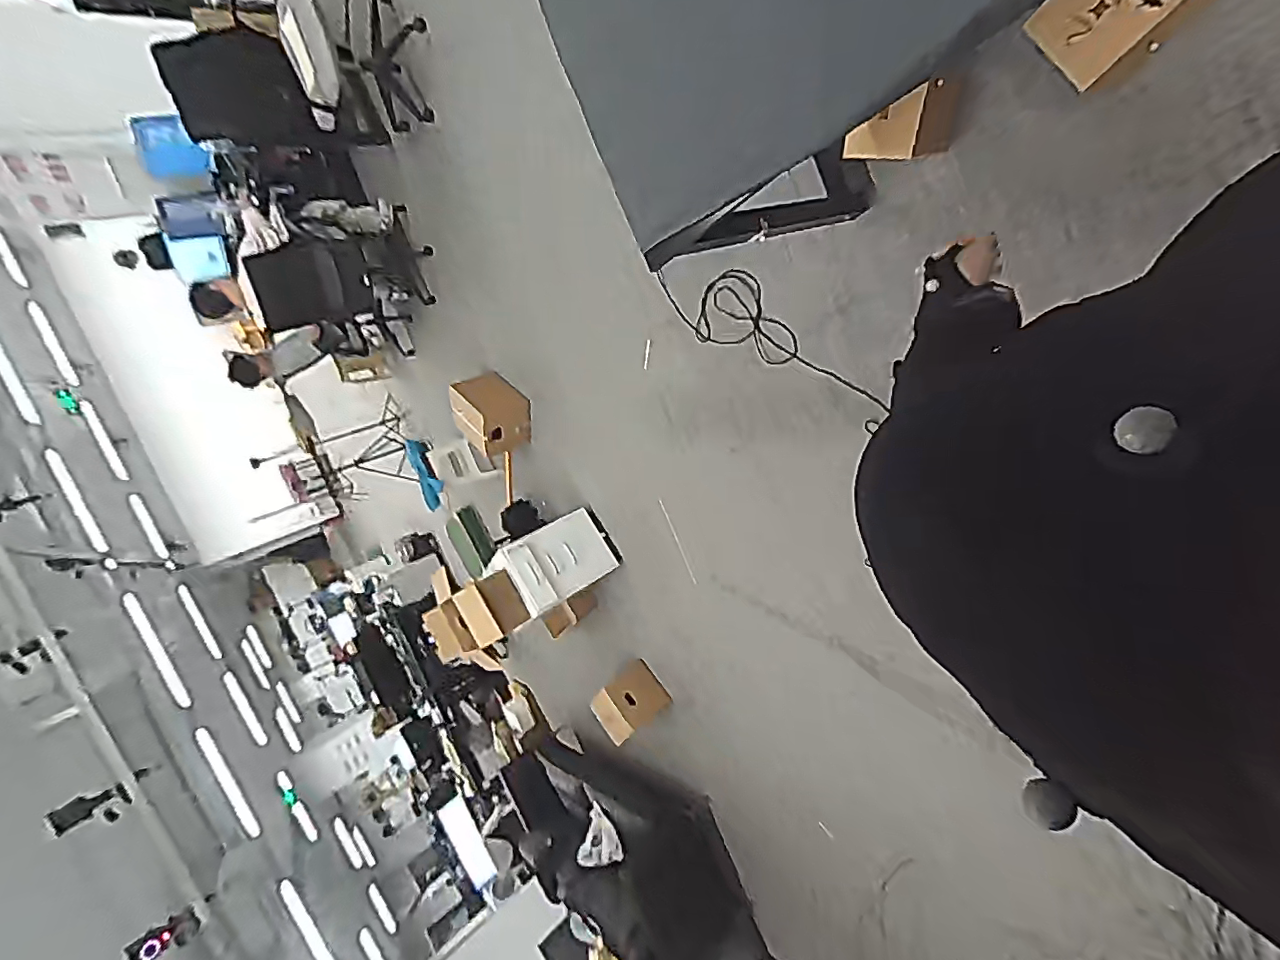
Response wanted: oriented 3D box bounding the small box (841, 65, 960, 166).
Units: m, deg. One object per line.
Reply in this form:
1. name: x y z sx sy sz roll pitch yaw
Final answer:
1. small box: 0.580 -0.807 1.205 0.168 0.176 0.179 30 133 39
